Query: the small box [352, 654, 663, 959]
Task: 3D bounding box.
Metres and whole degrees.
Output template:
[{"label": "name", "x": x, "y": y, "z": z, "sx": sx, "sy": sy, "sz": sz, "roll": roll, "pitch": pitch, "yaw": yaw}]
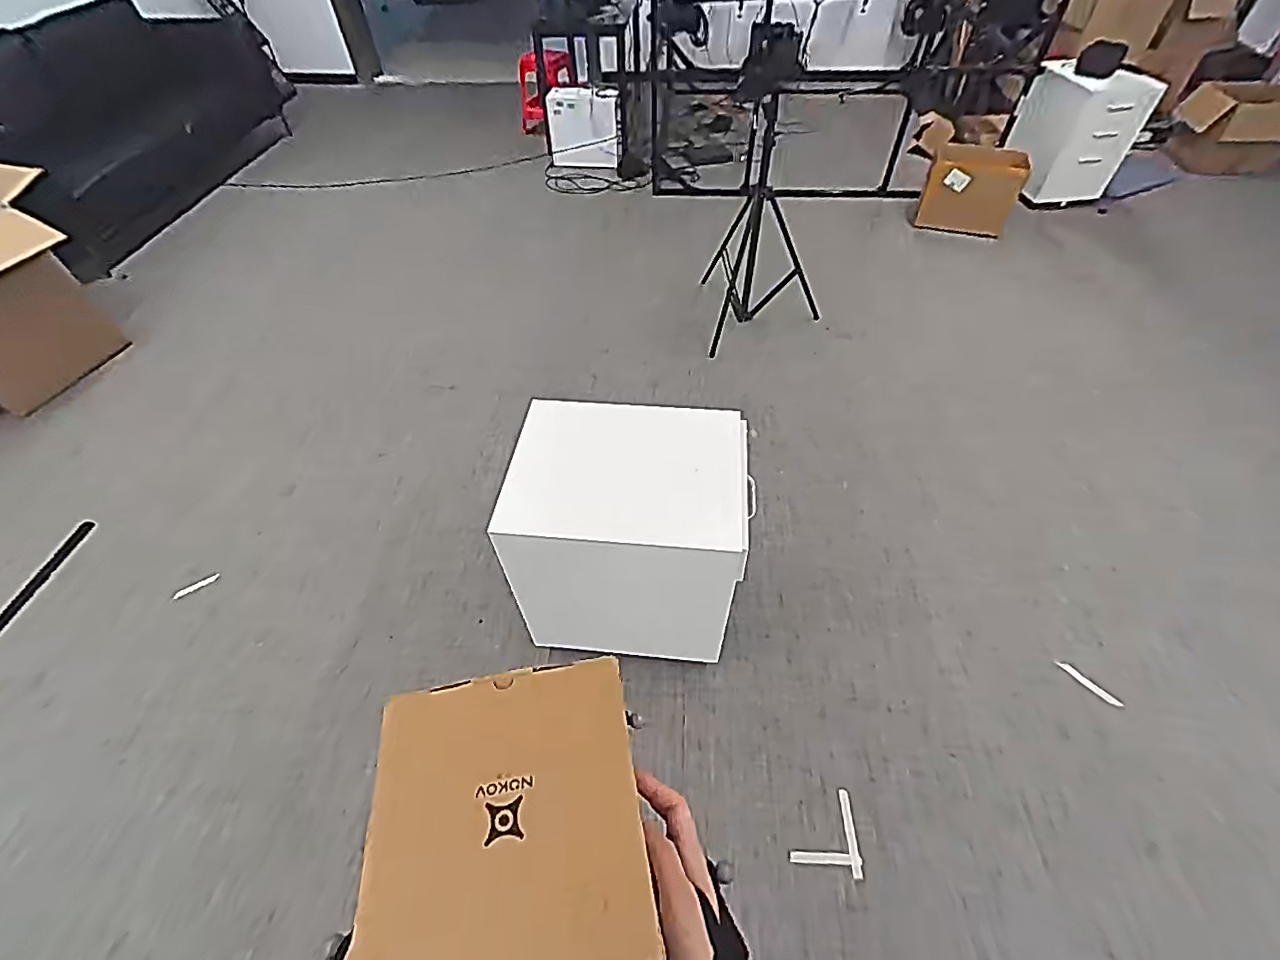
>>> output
[{"label": "small box", "x": -0.079, "y": 0.257, "z": 0.390, "sx": 0.168, "sy": 0.176, "sz": 0.179, "roll": -10, "pitch": 46, "yaw": -6}]
